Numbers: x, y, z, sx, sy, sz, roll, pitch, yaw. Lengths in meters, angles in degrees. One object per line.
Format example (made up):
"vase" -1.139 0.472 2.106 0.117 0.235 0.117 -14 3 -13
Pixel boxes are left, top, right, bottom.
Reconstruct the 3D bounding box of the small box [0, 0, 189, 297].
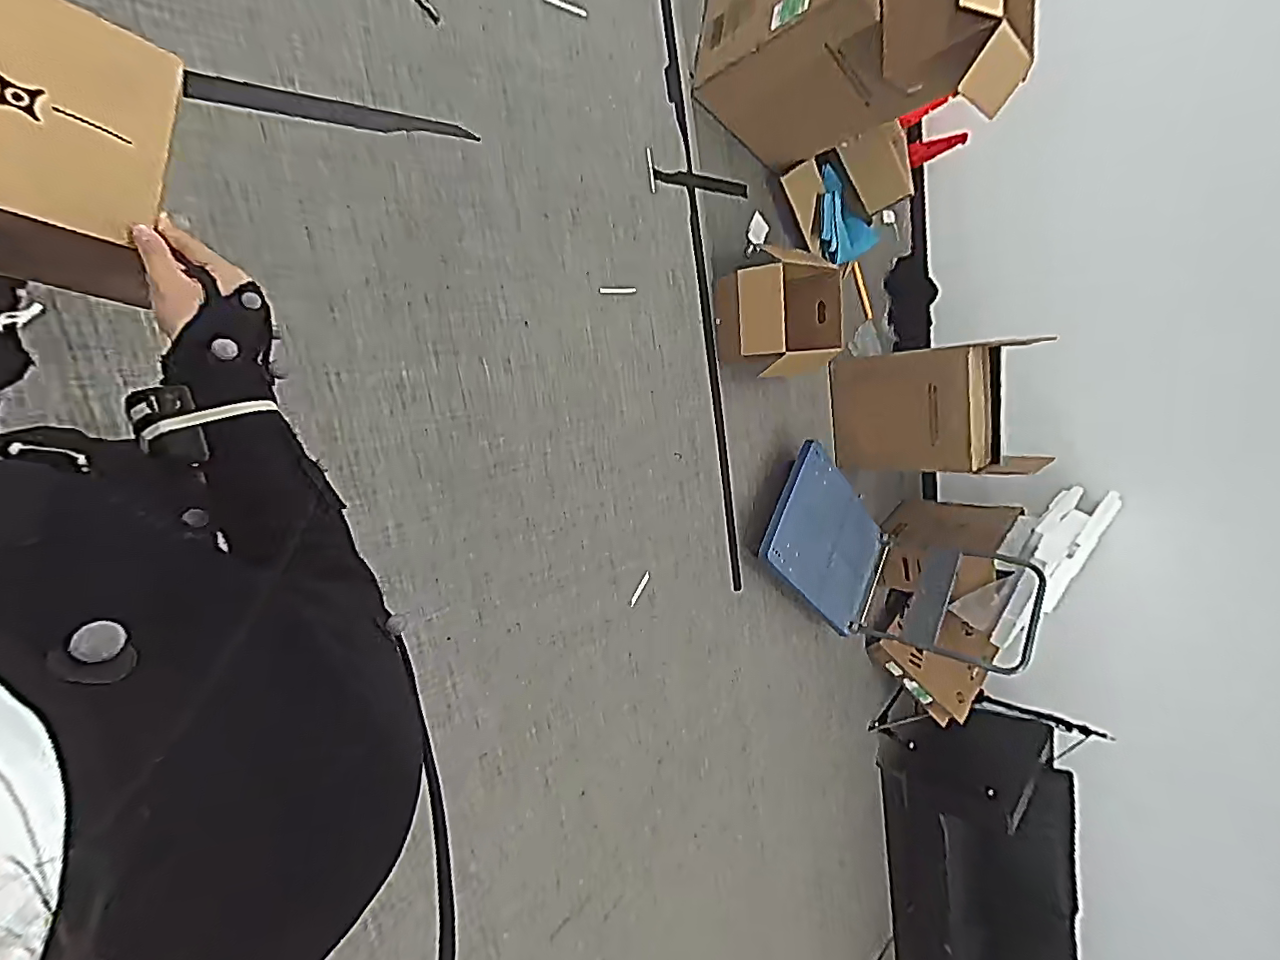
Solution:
"small box" -0.487 -0.266 0.428 0.179 0.176 0.168 10 82 -42
